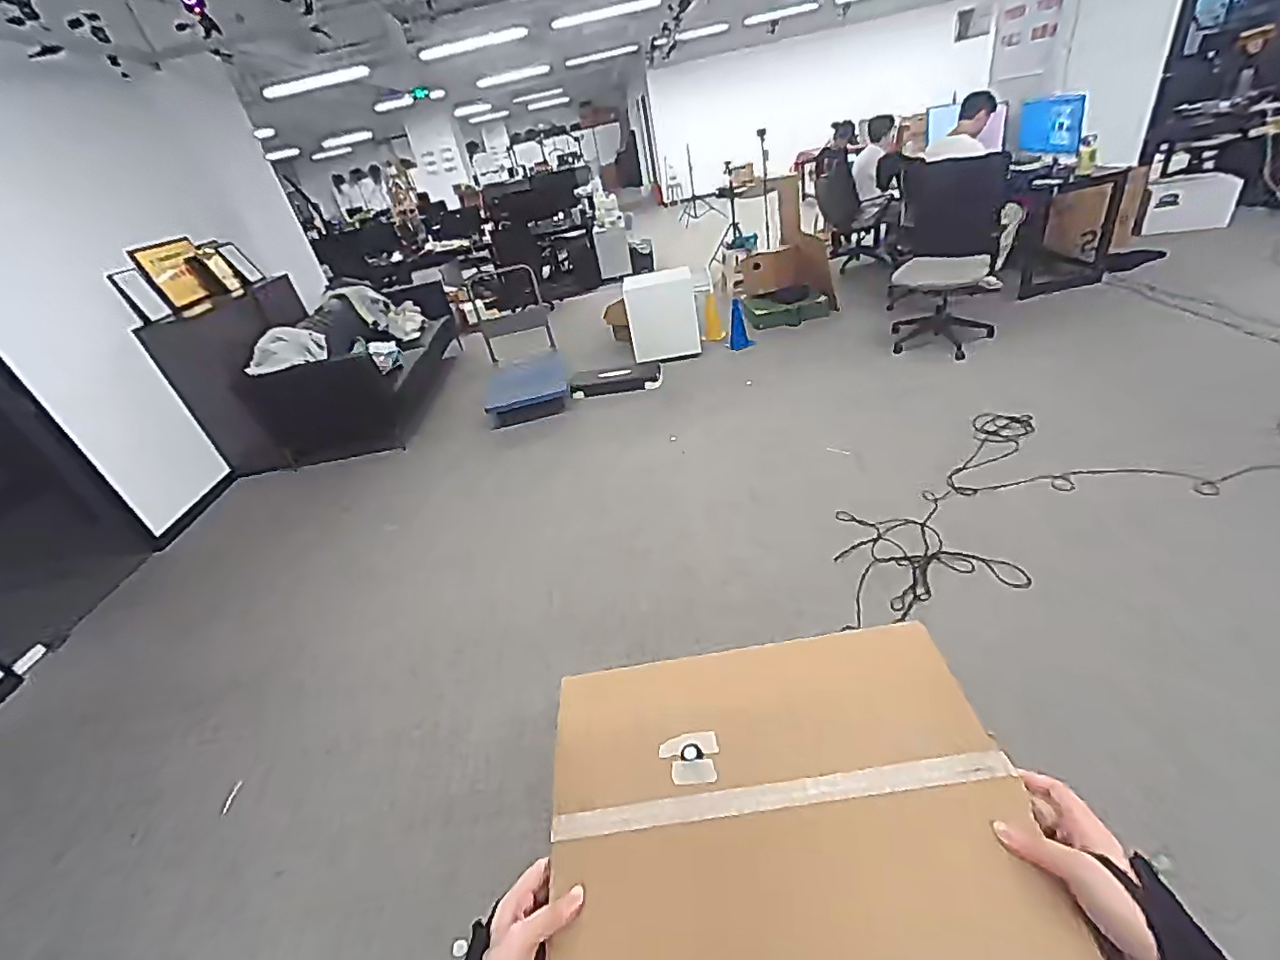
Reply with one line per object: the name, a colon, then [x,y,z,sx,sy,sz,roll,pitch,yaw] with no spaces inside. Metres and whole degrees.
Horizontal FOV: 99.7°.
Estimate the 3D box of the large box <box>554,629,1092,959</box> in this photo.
large box: [0.150,0.412,0.586,0.408,0.320,0.320,-12,37,5]
